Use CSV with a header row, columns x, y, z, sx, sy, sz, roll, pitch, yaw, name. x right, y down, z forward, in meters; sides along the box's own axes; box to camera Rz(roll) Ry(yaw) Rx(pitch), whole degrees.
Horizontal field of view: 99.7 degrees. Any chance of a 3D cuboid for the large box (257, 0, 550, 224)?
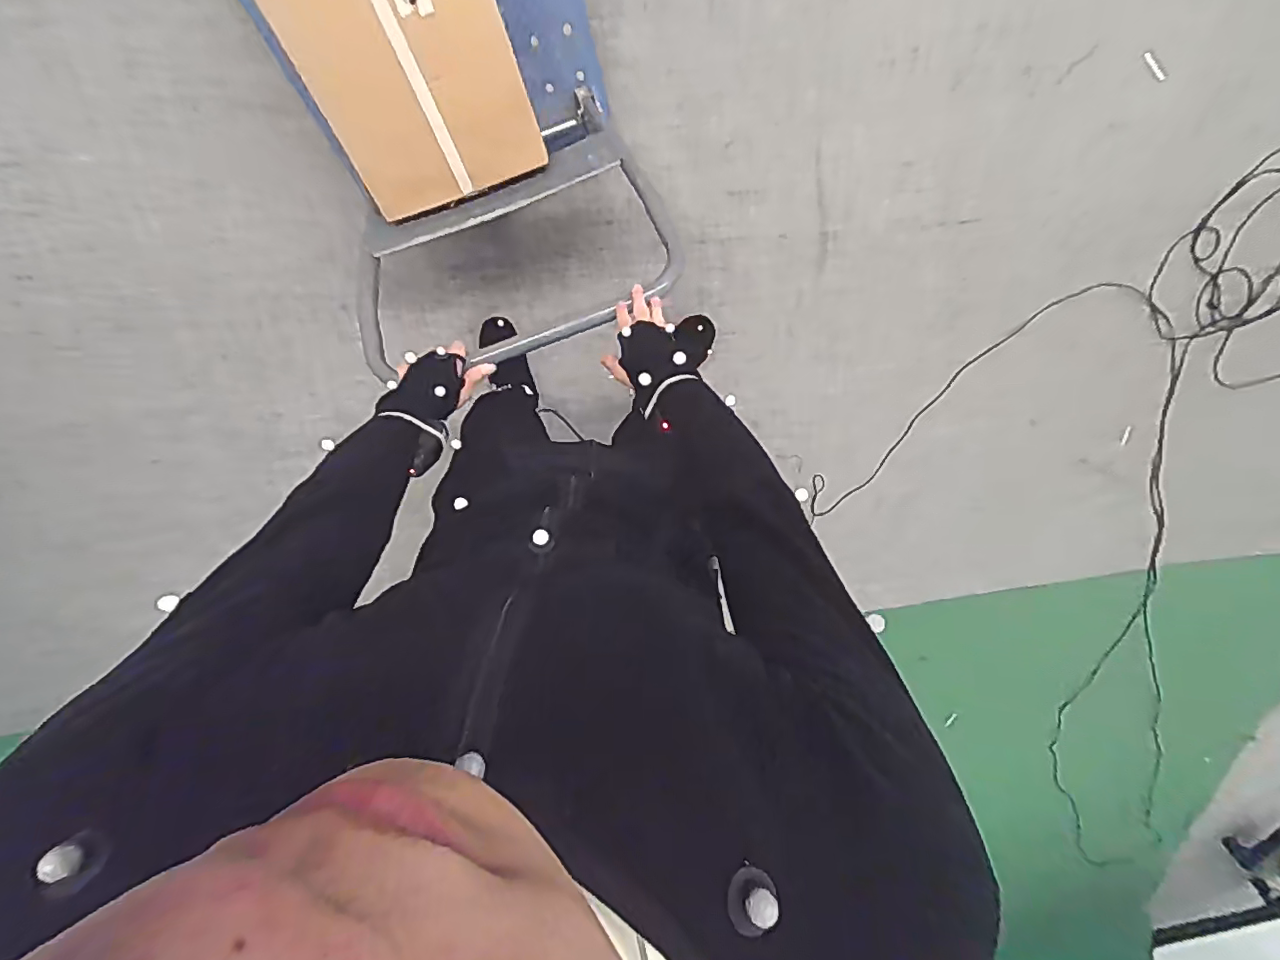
x,y,z,sx,sy,sz,roll,pitch,yaw,name
-0.385,-0.738,0.926,0.320,0.320,0.408,-21,137,1,large box
